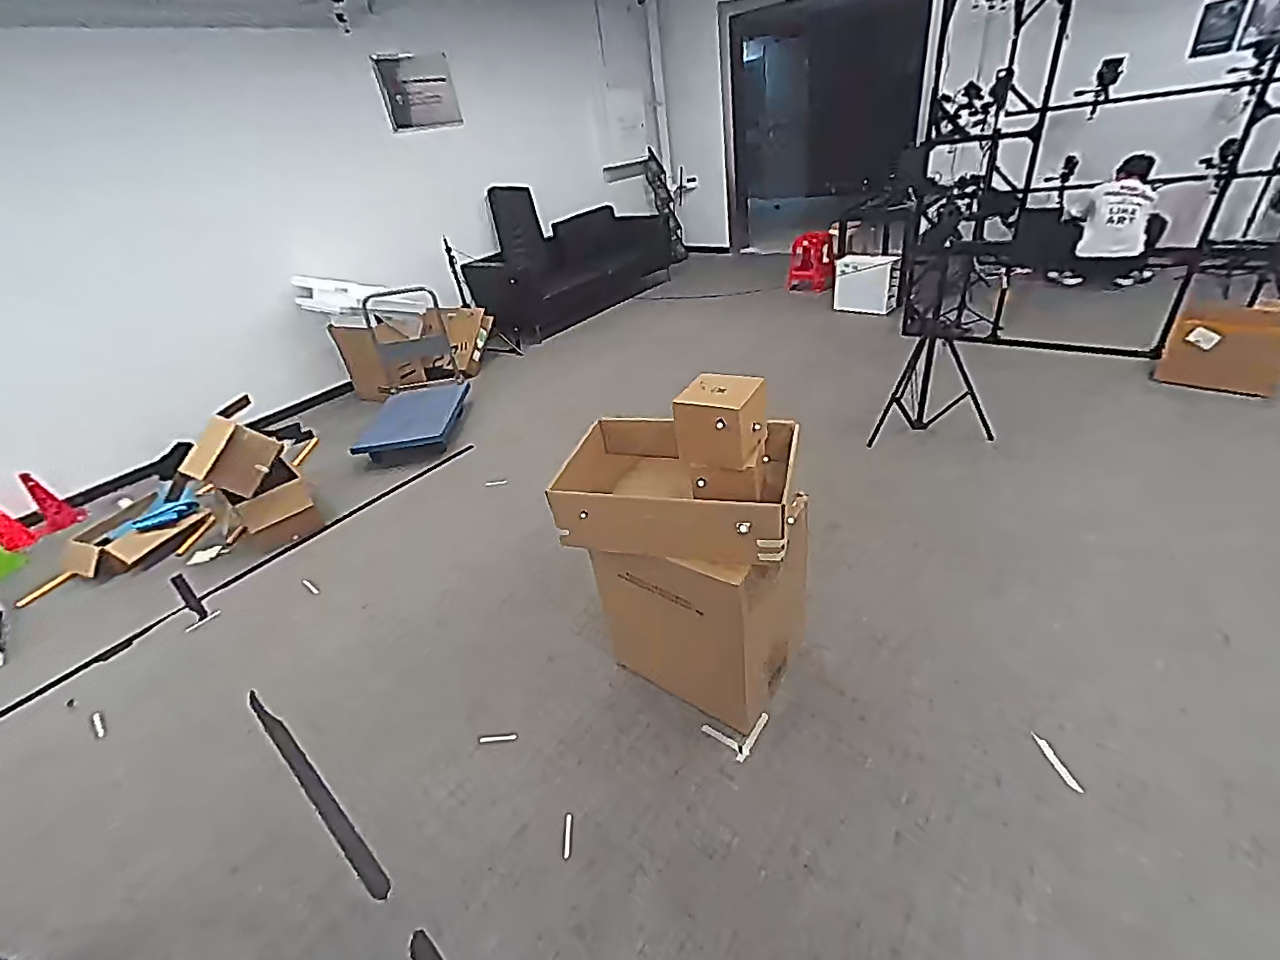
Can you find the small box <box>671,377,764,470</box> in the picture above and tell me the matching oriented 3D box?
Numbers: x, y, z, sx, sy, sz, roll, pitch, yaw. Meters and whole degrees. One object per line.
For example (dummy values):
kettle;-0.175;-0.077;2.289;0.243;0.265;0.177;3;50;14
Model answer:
small box;0.200;-0.141;1.345;0.179;0.176;0.168;10;39;31
